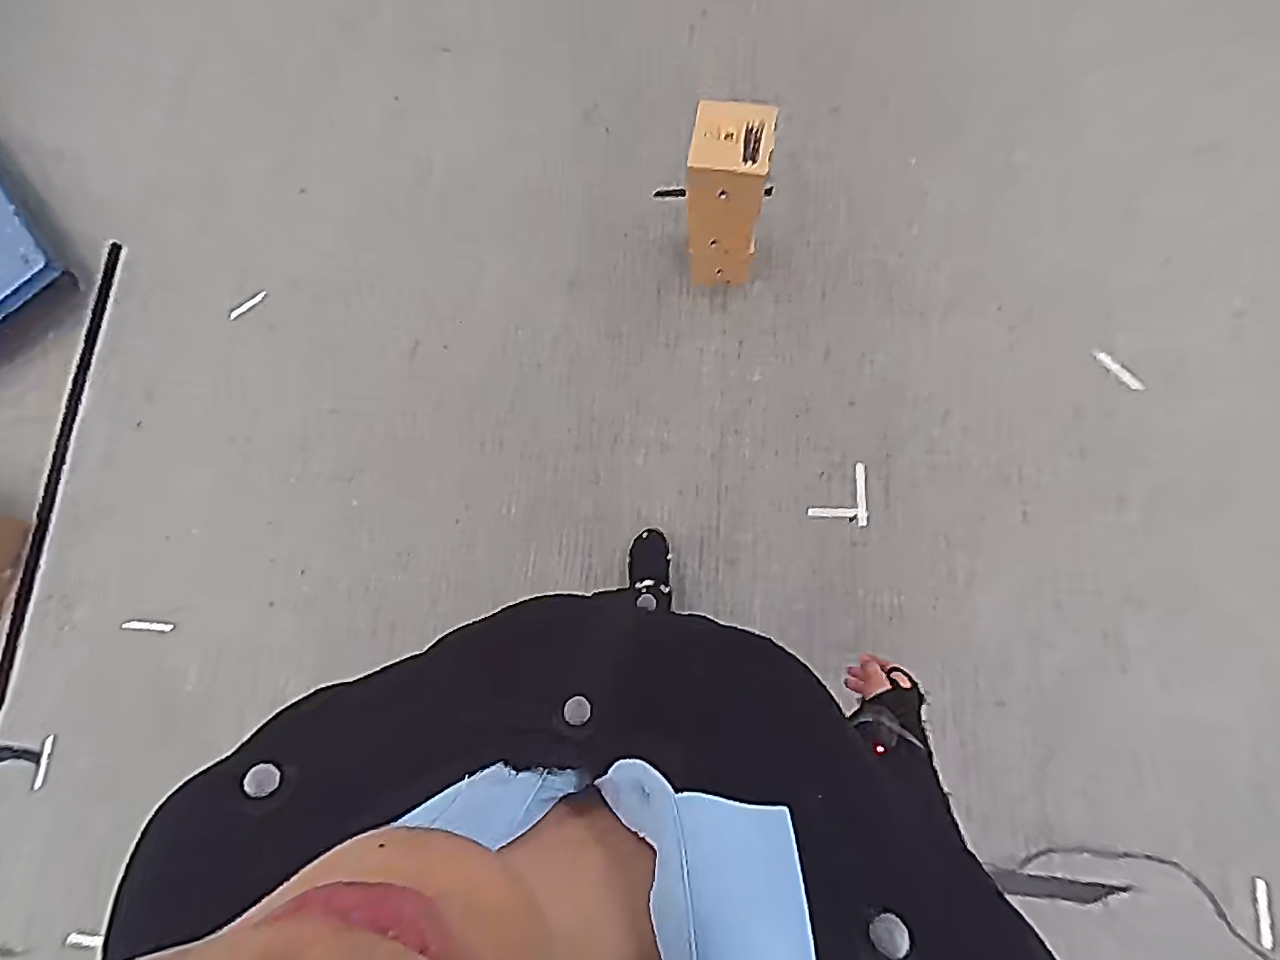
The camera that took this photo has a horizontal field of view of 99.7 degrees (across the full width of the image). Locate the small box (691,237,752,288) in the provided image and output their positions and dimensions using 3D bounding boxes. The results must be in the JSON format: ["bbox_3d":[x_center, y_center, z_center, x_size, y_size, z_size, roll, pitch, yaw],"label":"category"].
[{"bbox_3d":[0.232,-0.673,1.562,0.168,0.176,0.179,1,79,4],"label":"small box"}]

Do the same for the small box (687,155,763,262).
[{"bbox_3d":[0.214,-0.699,1.402,0.168,0.176,0.179,8,81,6],"label":"small box"}]
